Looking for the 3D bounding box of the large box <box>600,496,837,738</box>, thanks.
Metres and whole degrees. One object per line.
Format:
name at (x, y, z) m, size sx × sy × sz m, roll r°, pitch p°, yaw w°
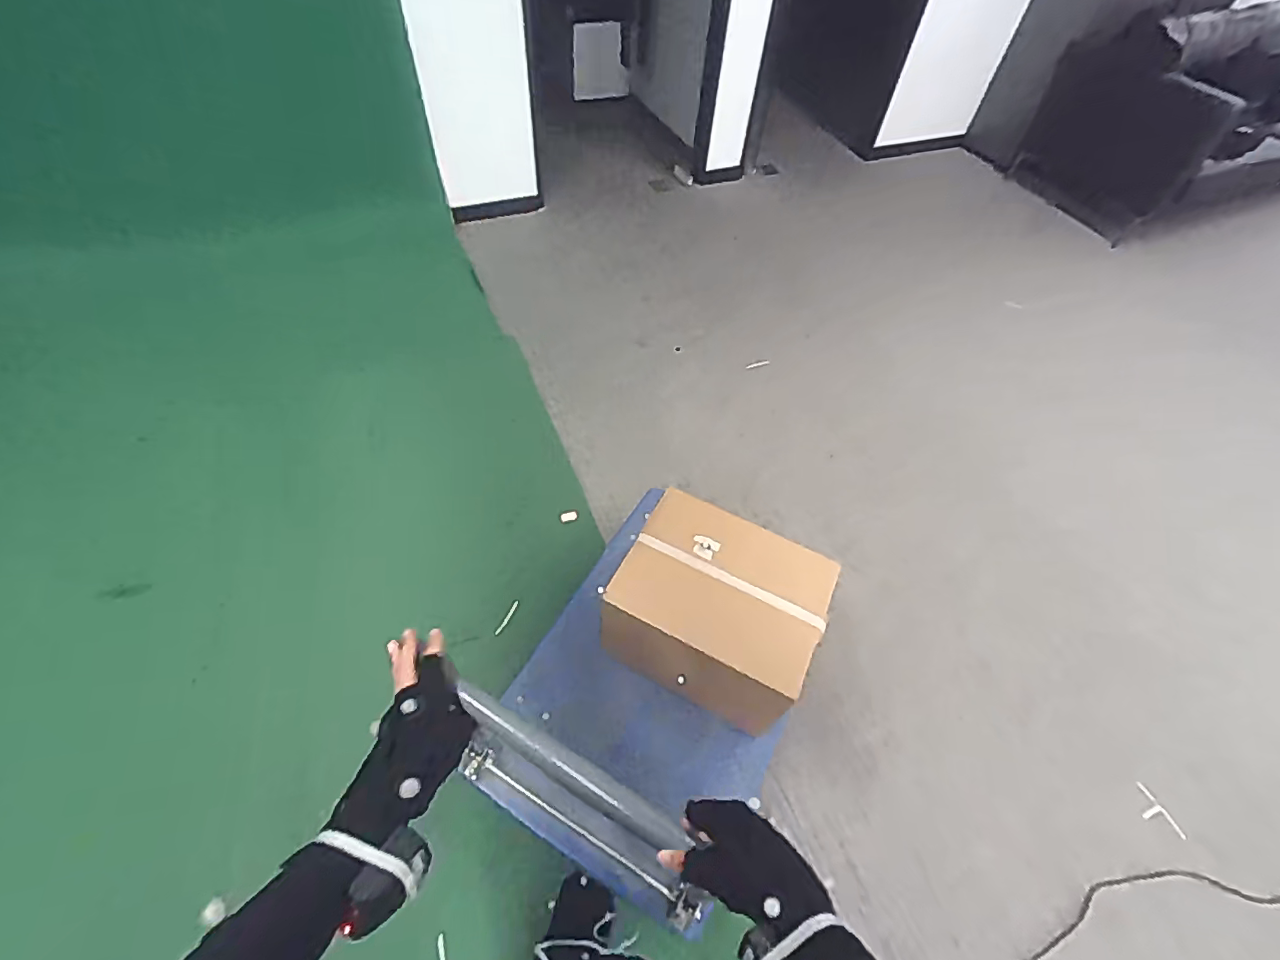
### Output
large box at (0.162, 0.305, 1.201) m, size 0.408 × 0.320 × 0.320 m, roll 24°, pitch 54°, yaw 16°
